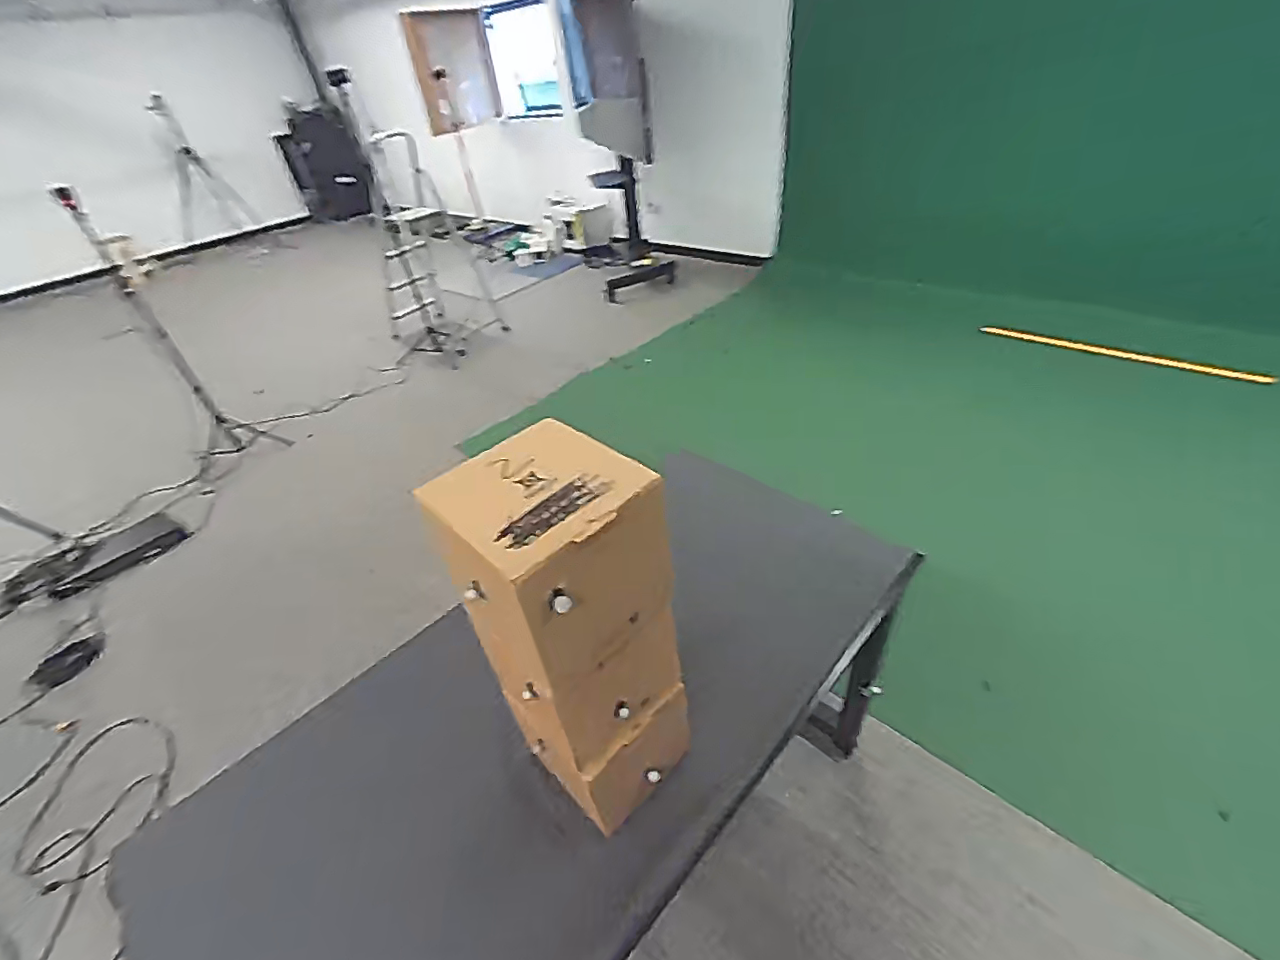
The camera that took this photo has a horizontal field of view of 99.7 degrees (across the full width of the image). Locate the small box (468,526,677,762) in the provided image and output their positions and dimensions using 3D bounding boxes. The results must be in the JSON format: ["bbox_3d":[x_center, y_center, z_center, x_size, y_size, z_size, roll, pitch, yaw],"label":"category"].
[{"bbox_3d":[-0.074,0.192,0.649,0.168,0.176,0.179,-34,45,-30],"label":"small box"}]

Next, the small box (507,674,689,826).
[{"bbox_3d":[-0.051,0.324,0.741,0.168,0.176,0.179,-35,45,-30],"label":"small box"}]
